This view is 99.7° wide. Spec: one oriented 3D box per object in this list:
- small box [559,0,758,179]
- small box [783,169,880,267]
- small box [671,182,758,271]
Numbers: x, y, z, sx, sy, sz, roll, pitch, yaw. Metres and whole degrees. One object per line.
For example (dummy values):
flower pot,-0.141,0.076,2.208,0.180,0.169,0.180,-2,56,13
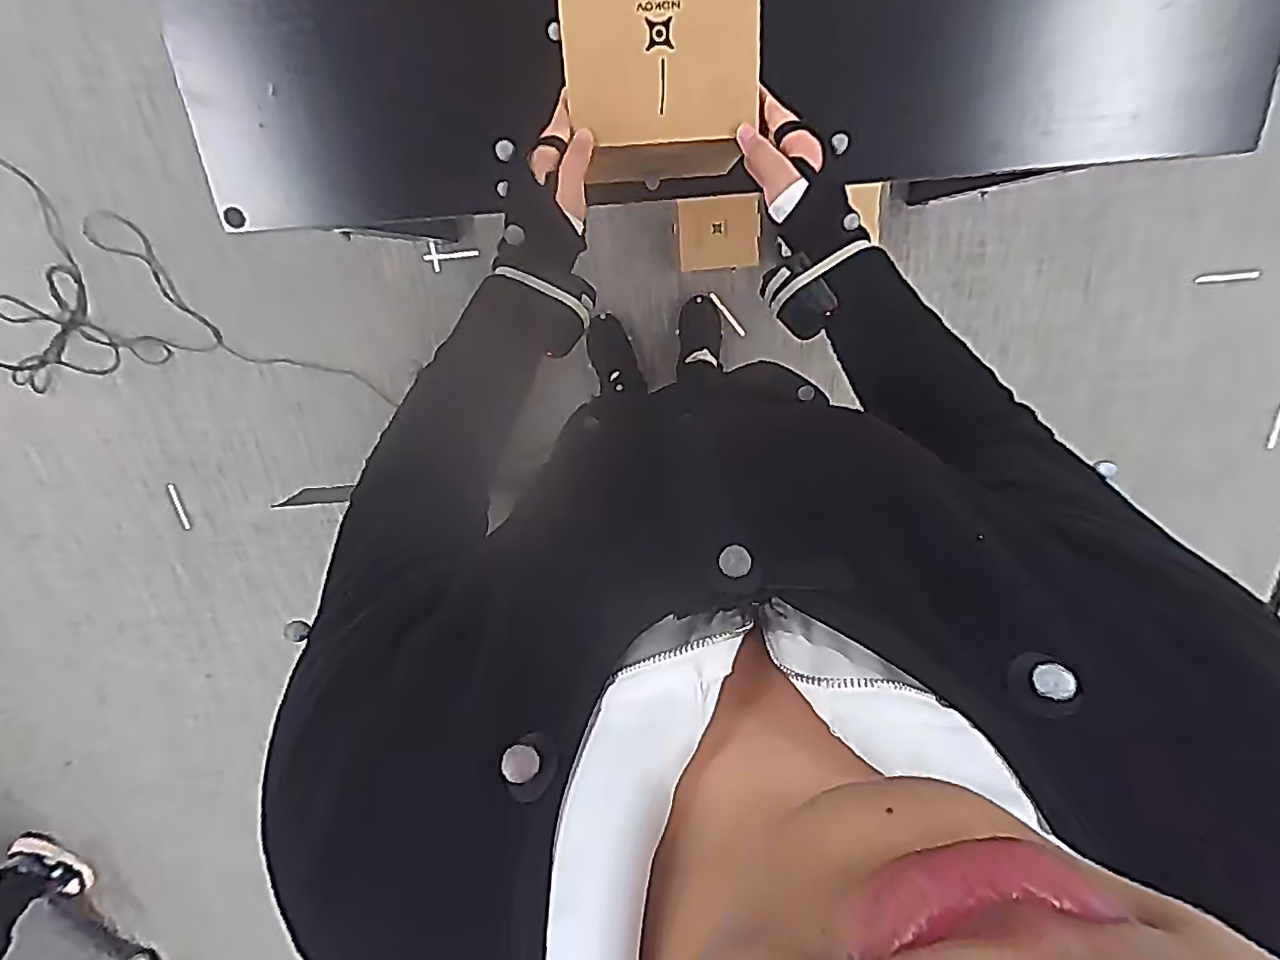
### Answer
small box,0.012,-0.405,0.515,0.168,0.176,0.179,-4,110,0
small box,0.429,-0.591,1.236,0.168,0.176,0.179,-5,111,2
small box,0.167,-0.575,1.241,0.179,0.176,0.168,-5,110,2
